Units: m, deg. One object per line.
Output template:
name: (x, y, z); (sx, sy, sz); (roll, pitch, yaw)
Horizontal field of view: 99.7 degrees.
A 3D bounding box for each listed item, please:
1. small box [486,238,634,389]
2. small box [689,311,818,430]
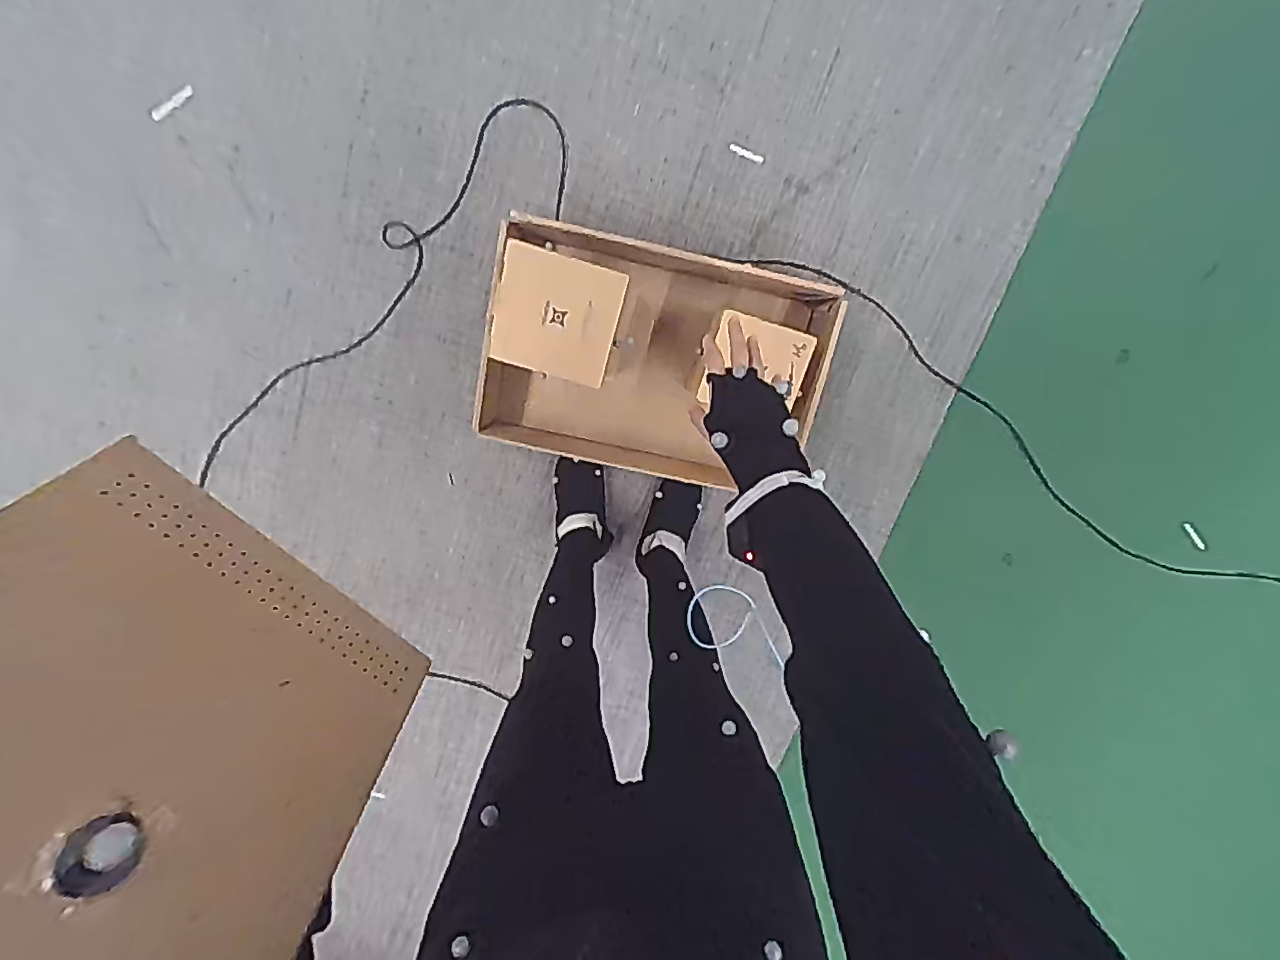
small box: (-0.117, -0.252, 0.839); (0.179, 0.176, 0.168); (16, 105, -6)
small box: (0.202, -0.208, 1.026); (0.179, 0.176, 0.168); (18, 103, -5)
